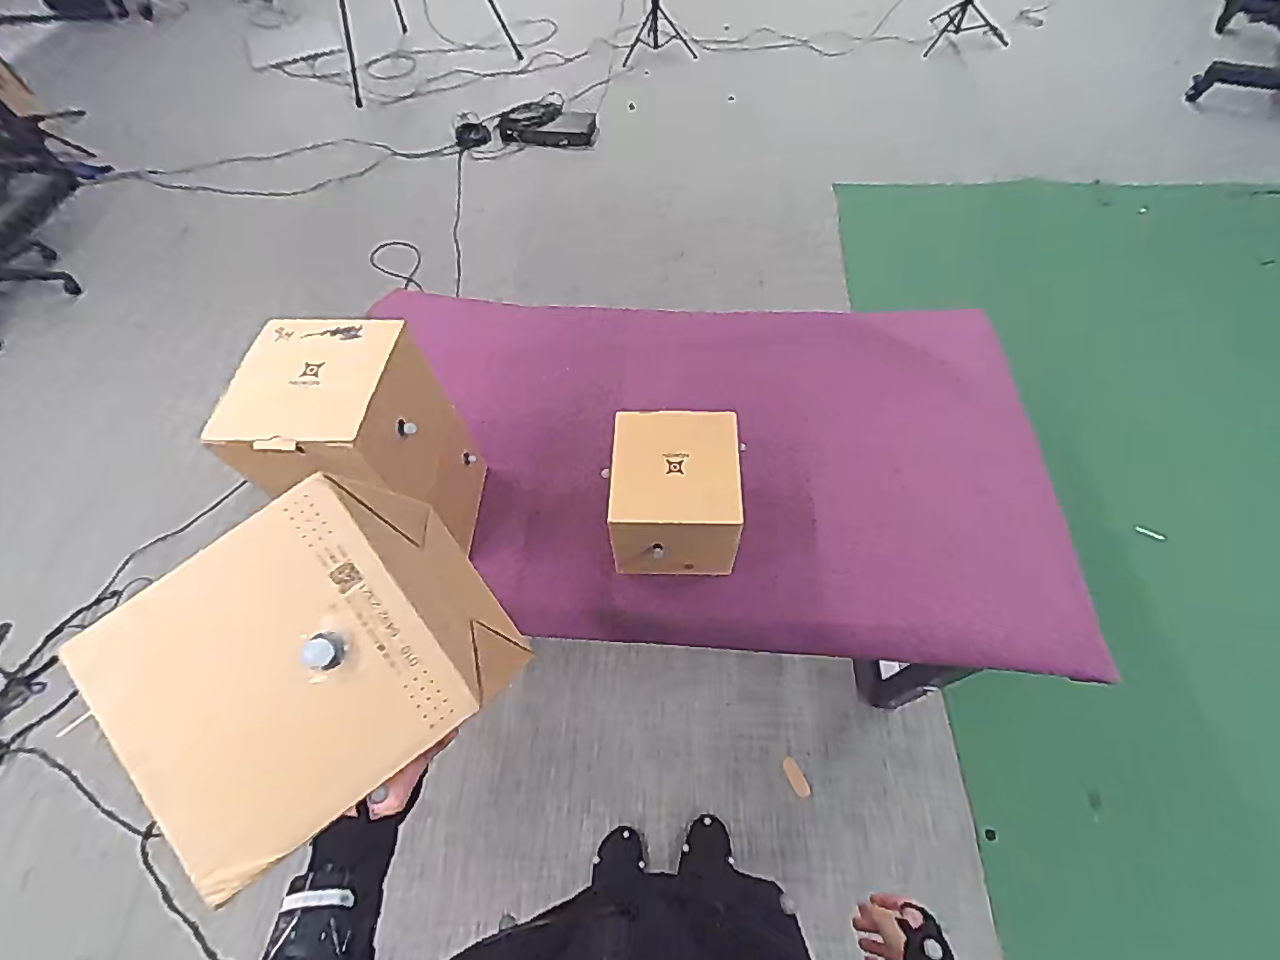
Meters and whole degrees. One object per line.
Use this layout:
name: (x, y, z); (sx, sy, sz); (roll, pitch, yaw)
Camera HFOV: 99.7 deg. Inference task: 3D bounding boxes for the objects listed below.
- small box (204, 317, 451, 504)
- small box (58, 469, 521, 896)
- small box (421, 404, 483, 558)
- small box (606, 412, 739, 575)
small box: (-0.346, -0.070, 0.644); (0.168, 0.176, 0.179); (2, 59, 4)
small box: (-0.202, 0.114, 0.374); (0.176, 0.179, 0.168); (-36, 83, -7)
small box: (-0.340, 0.006, 0.789); (0.168, 0.176, 0.179); (1, 59, 3)
small box: (0.048, 0.023, 0.763); (0.168, 0.176, 0.179); (1, 56, 3)
